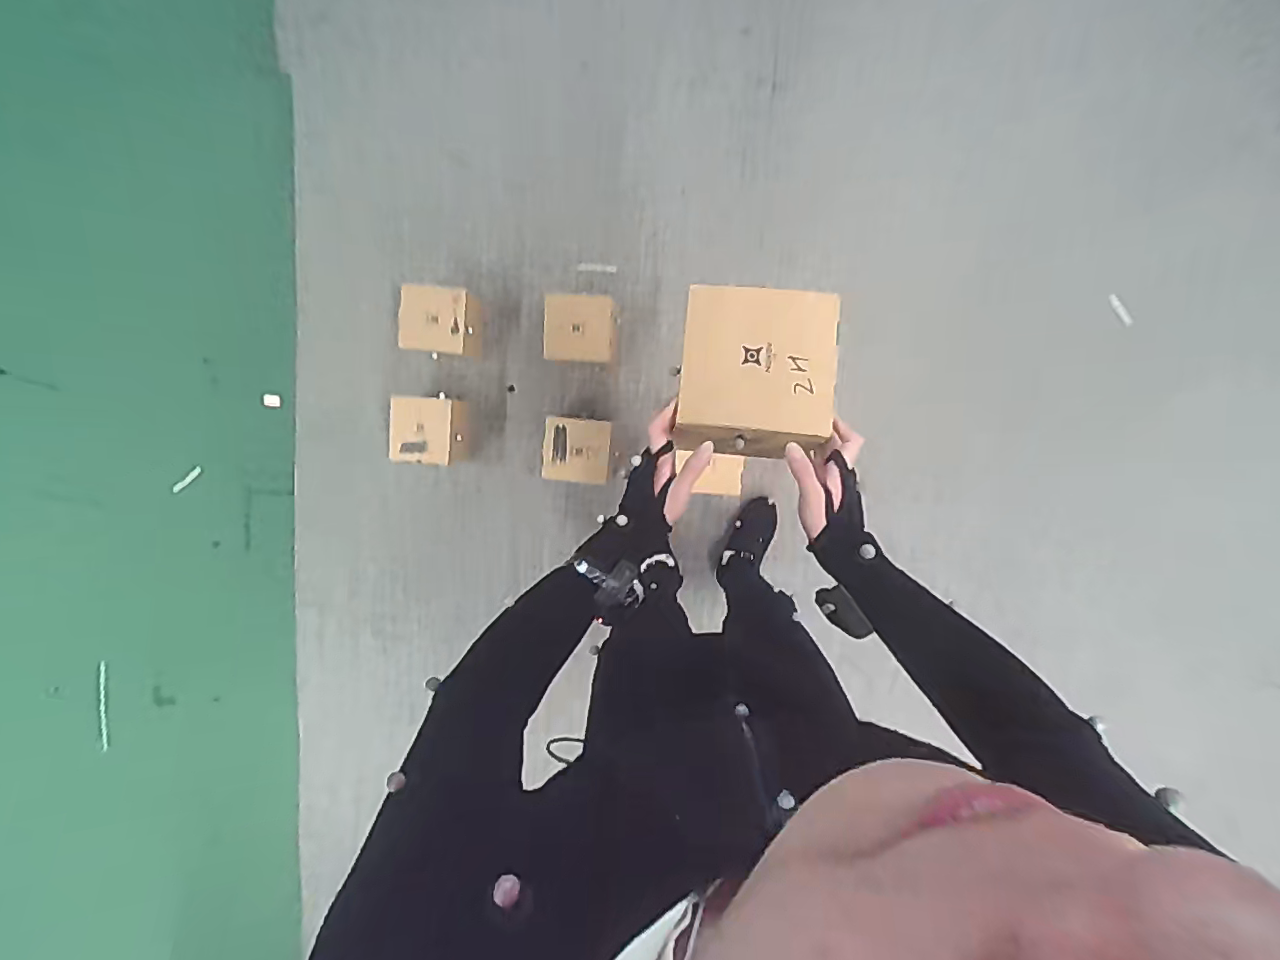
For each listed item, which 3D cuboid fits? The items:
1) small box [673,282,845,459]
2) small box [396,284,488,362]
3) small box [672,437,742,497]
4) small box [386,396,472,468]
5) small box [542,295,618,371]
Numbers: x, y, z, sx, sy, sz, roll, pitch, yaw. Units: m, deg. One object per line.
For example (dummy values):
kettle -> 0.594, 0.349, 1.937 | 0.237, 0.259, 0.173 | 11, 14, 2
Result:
small box -> 0.135, -0.124, 0.671 | 0.179, 0.176, 0.168 | 6, 83, 3
small box -> -0.531, -0.417, 1.462 | 0.179, 0.176, 0.168 | 7, 96, 3
small box -> 0.177, -0.048, 1.460 | 0.179, 0.176, 0.168 | 3, 95, 2
small box -> -0.575, -0.132, 1.490 | 0.168, 0.176, 0.179 | 5, 95, 2
small box -> -0.155, -0.387, 1.445 | 0.179, 0.176, 0.168 | 4, 94, 3
